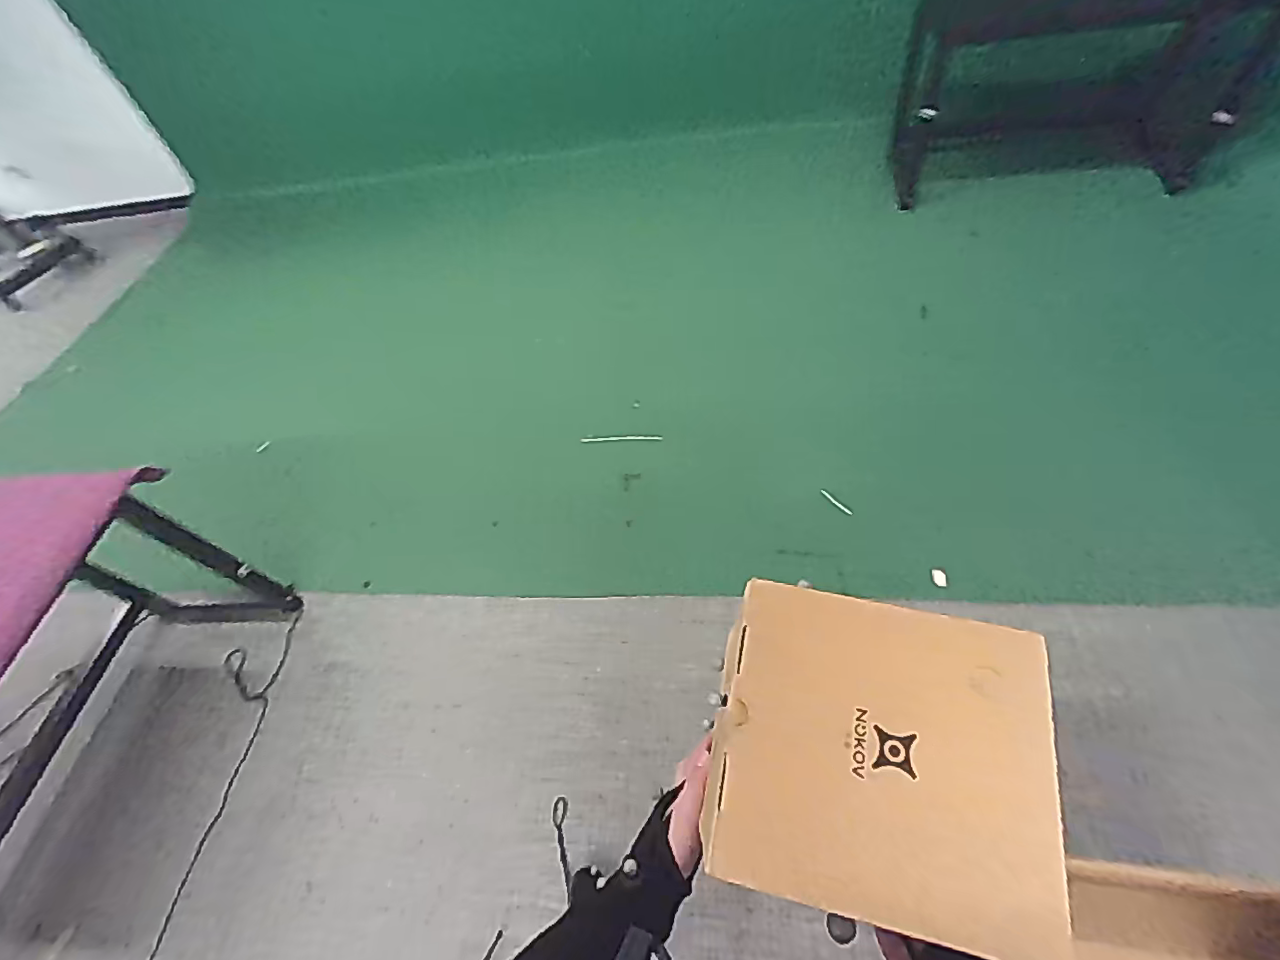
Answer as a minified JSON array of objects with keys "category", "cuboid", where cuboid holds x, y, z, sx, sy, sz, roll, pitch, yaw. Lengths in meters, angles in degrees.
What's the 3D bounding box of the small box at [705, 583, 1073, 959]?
[{"category":"small box","cuboid":[0.145,0.186,0.372,0.179,0.176,0.168,9,64,10]}]
